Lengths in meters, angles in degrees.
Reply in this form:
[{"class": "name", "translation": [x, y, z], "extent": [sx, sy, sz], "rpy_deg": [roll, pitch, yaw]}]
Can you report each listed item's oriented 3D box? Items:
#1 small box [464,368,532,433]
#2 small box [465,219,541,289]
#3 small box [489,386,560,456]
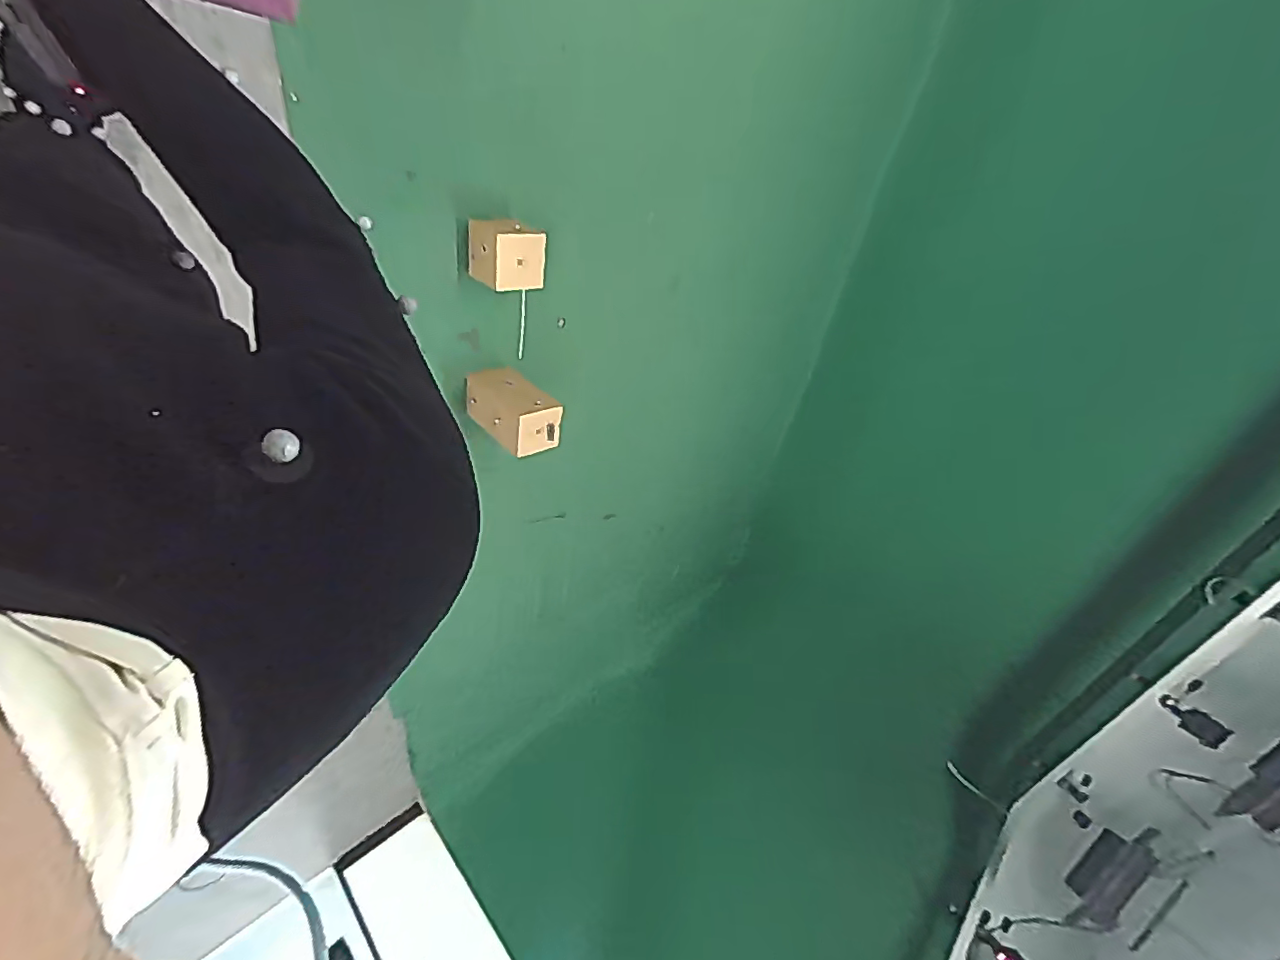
[{"class": "small box", "translation": [-0.518, -0.295, 1.963], "extent": [0.179, 0.176, 0.168], "rpy_deg": [-23, 137, -41]}, {"class": "small box", "translation": [-0.433, -0.707, 1.687], "extent": [0.179, 0.176, 0.168], "rpy_deg": [-24, 137, -41]}, {"class": "small box", "translation": [-0.404, -0.212, 1.879], "extent": [0.179, 0.176, 0.168], "rpy_deg": [-23, 137, -40]}]
